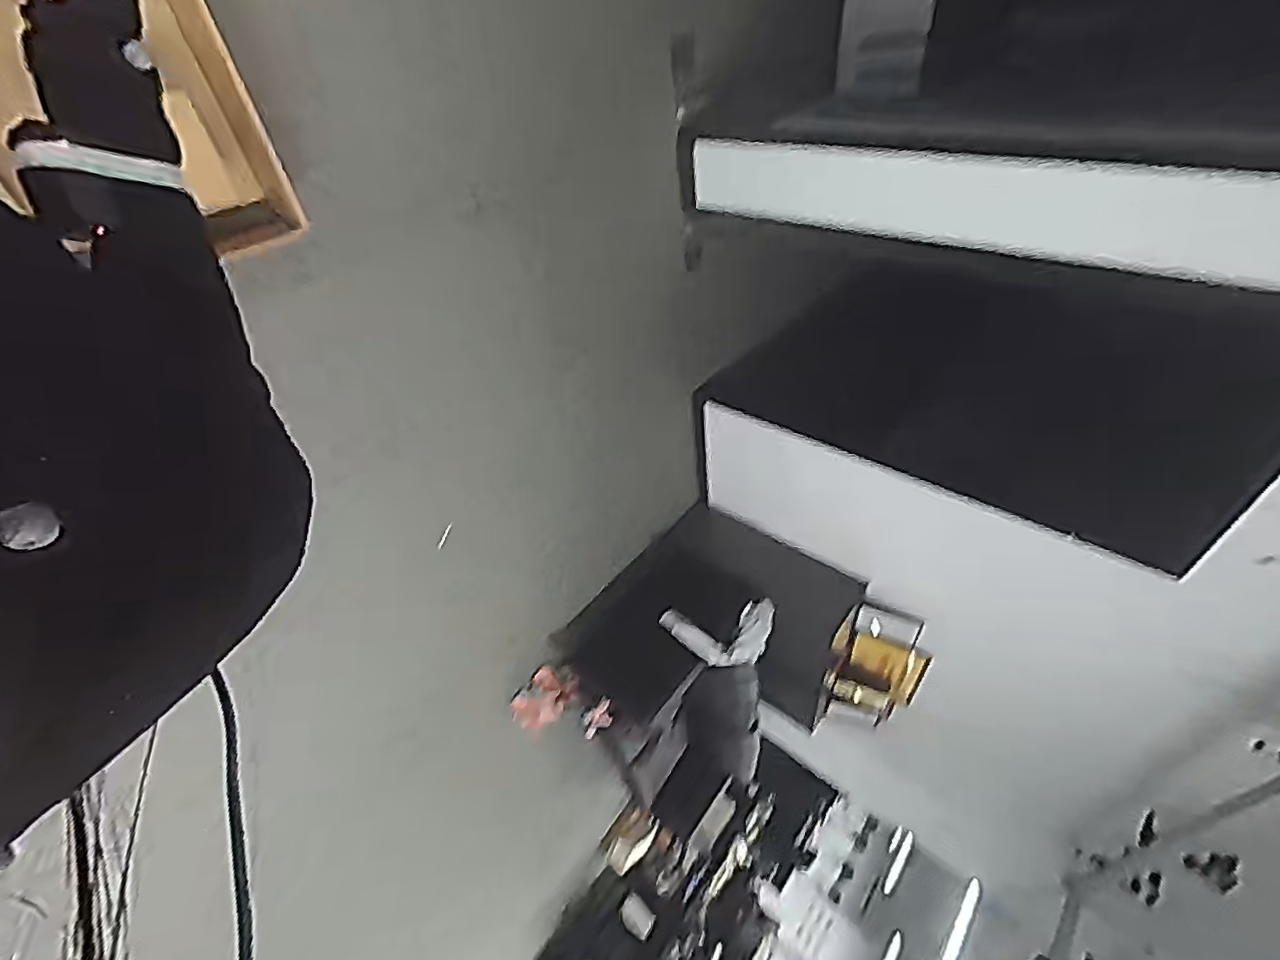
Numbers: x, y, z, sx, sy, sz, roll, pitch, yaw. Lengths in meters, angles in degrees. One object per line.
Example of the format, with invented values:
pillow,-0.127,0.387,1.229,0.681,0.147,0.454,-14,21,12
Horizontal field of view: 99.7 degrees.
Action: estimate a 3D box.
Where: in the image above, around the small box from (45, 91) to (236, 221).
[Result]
small box,-0.868,-0.571,0.944,0.179,0.176,0.168,-39,139,-31
